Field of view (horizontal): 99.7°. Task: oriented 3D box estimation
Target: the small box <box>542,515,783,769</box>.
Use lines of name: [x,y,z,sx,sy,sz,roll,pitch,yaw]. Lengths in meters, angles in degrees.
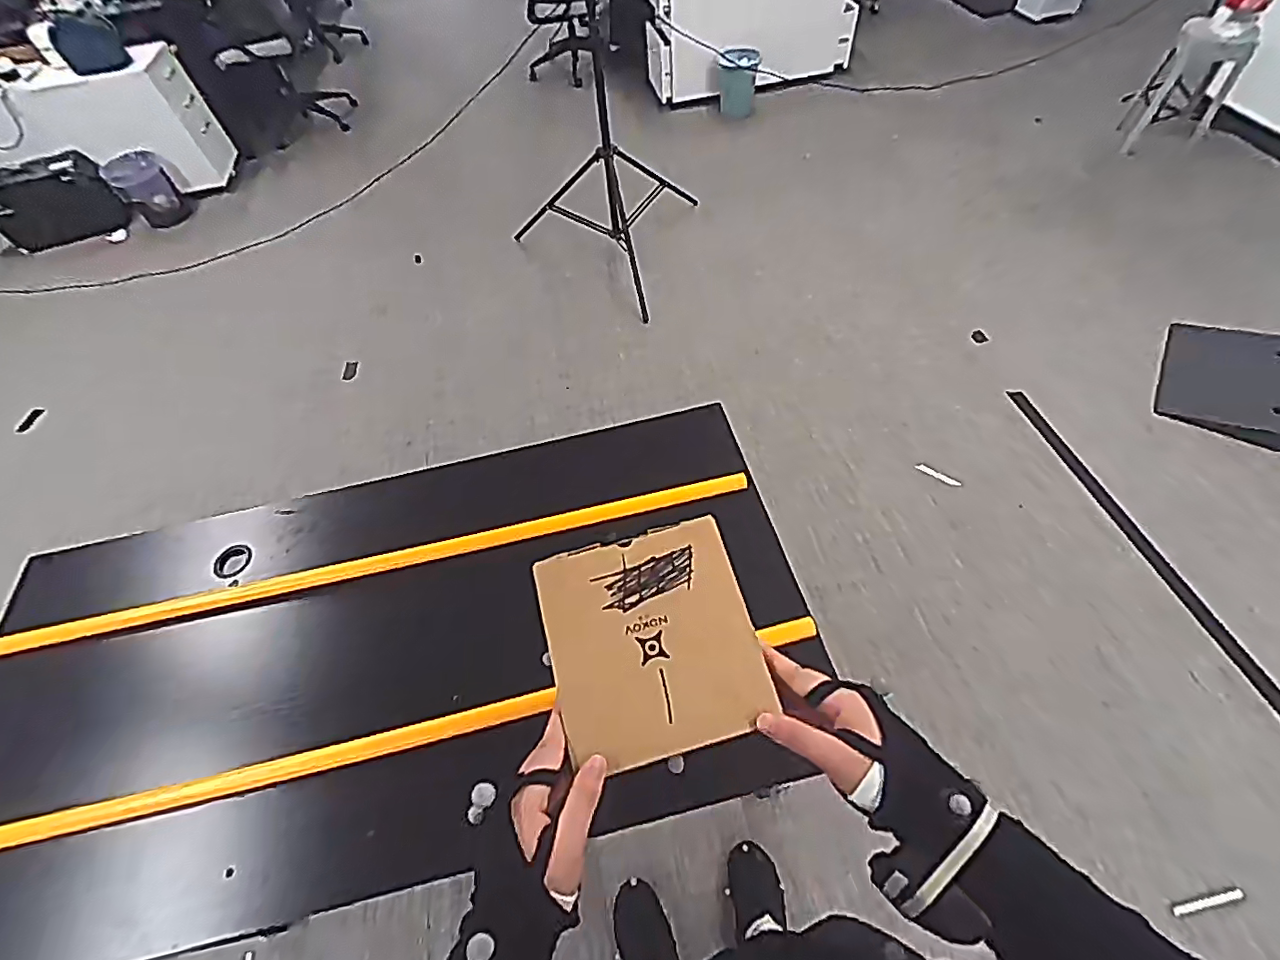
small box: [0.014,0.160,0.518,0.168,0.176,0.179,-15,64,-5]
